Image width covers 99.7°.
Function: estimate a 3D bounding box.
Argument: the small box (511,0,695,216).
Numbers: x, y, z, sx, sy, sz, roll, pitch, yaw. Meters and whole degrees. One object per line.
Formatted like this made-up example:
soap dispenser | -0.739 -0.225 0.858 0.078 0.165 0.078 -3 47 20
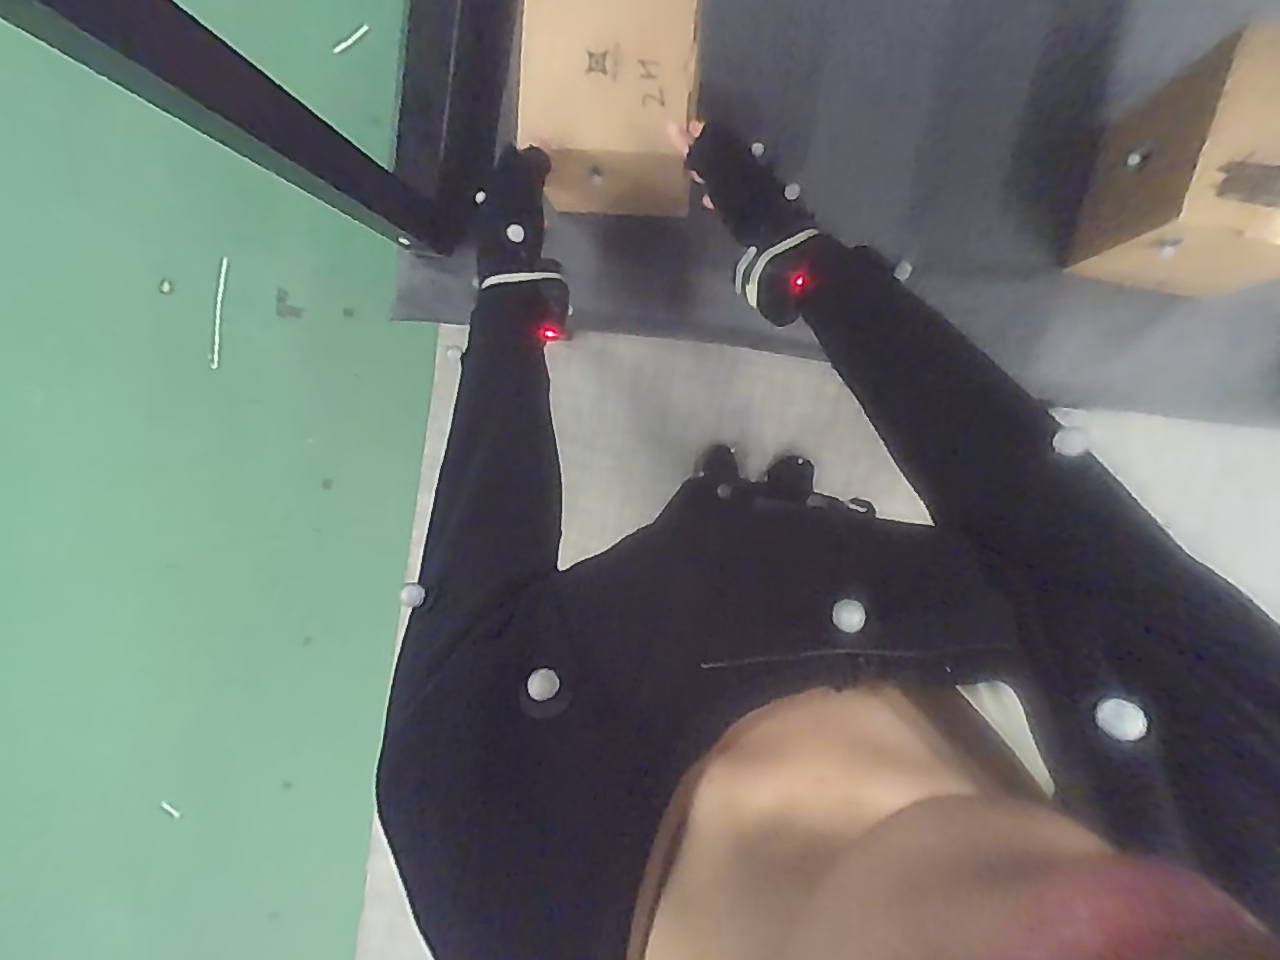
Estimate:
small box | -0.032 -0.420 0.620 0.179 0.176 0.168 6 98 4
